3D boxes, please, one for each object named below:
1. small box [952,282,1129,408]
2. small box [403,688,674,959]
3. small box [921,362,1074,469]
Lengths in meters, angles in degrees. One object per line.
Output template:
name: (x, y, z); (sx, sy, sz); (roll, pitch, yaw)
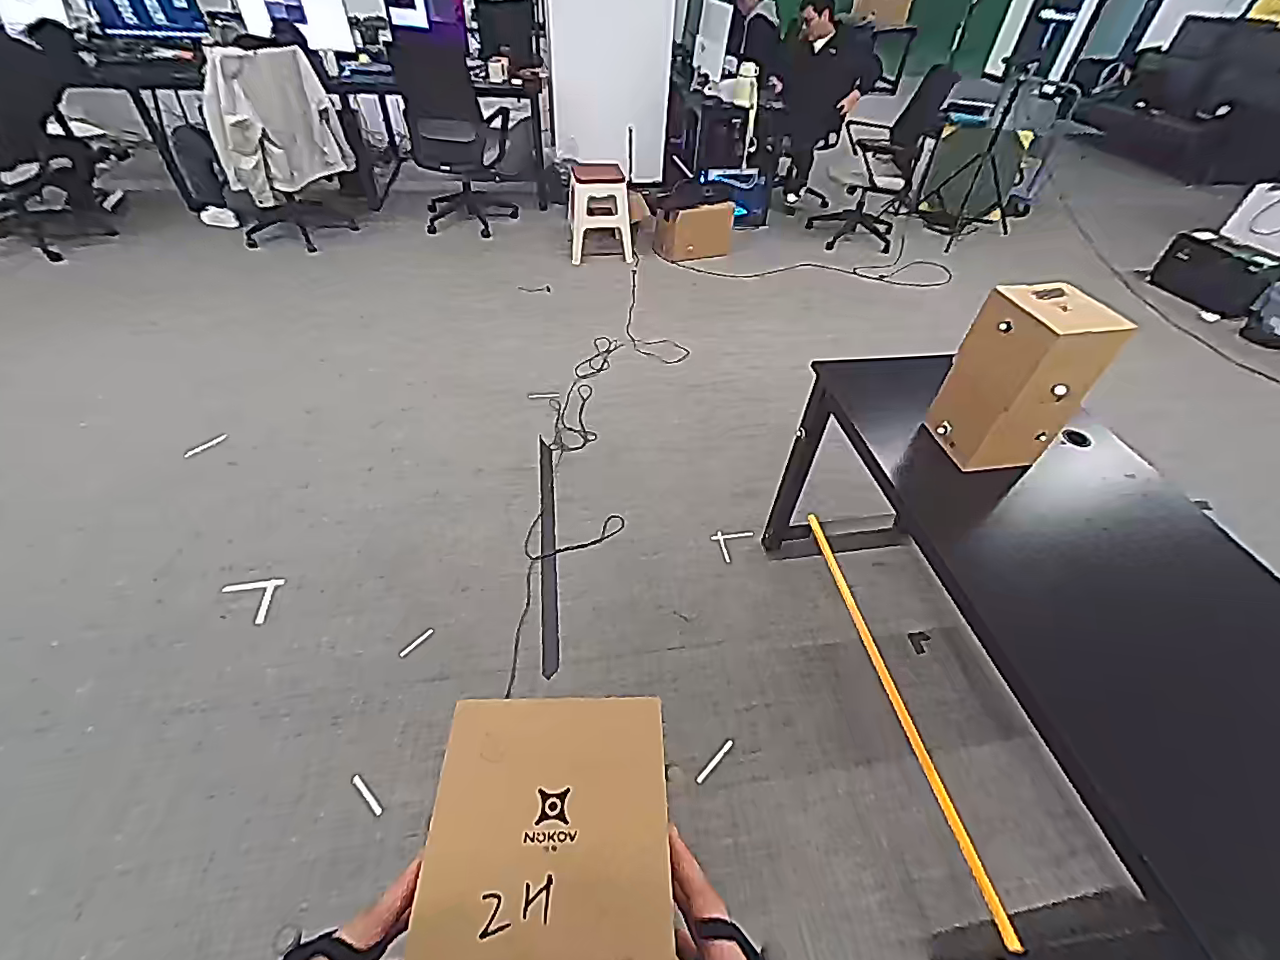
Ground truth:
small box: (0.743, -0.258, 1.030); (0.168, 0.176, 0.179); (-7, 47, -11)
small box: (-0.066, 0.290, 0.438); (0.168, 0.176, 0.179); (0, 44, -3)
small box: (0.743, -0.141, 1.147); (0.179, 0.176, 0.168); (-7, 45, -9)
